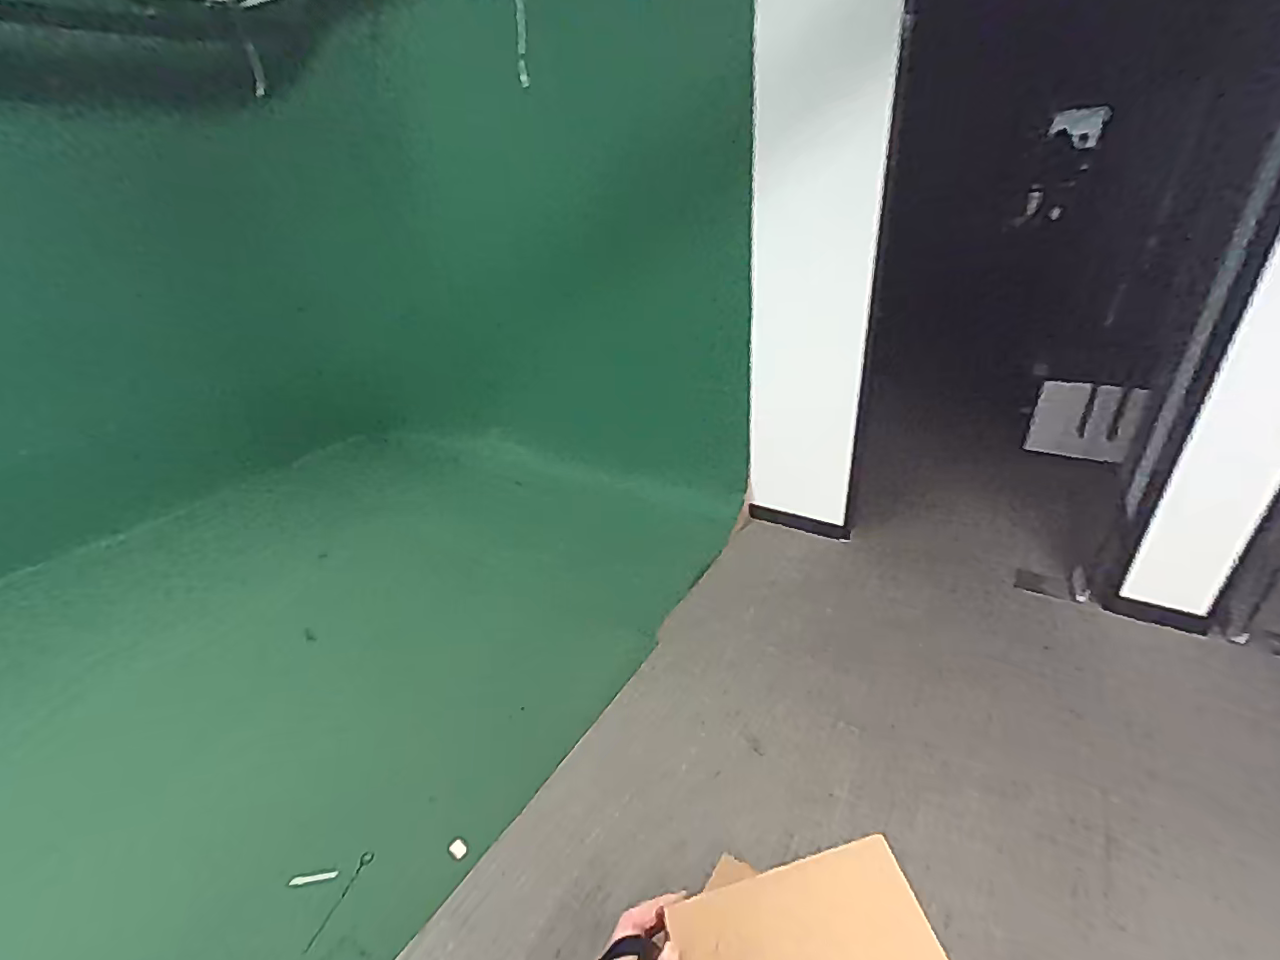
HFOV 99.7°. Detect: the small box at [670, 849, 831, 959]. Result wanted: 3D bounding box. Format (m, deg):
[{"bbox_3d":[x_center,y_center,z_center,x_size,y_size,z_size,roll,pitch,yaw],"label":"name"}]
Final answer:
[{"bbox_3d":[0.159,0.697,0.776,0.168,0.176,0.179,17,38,32],"label":"small box"}]
